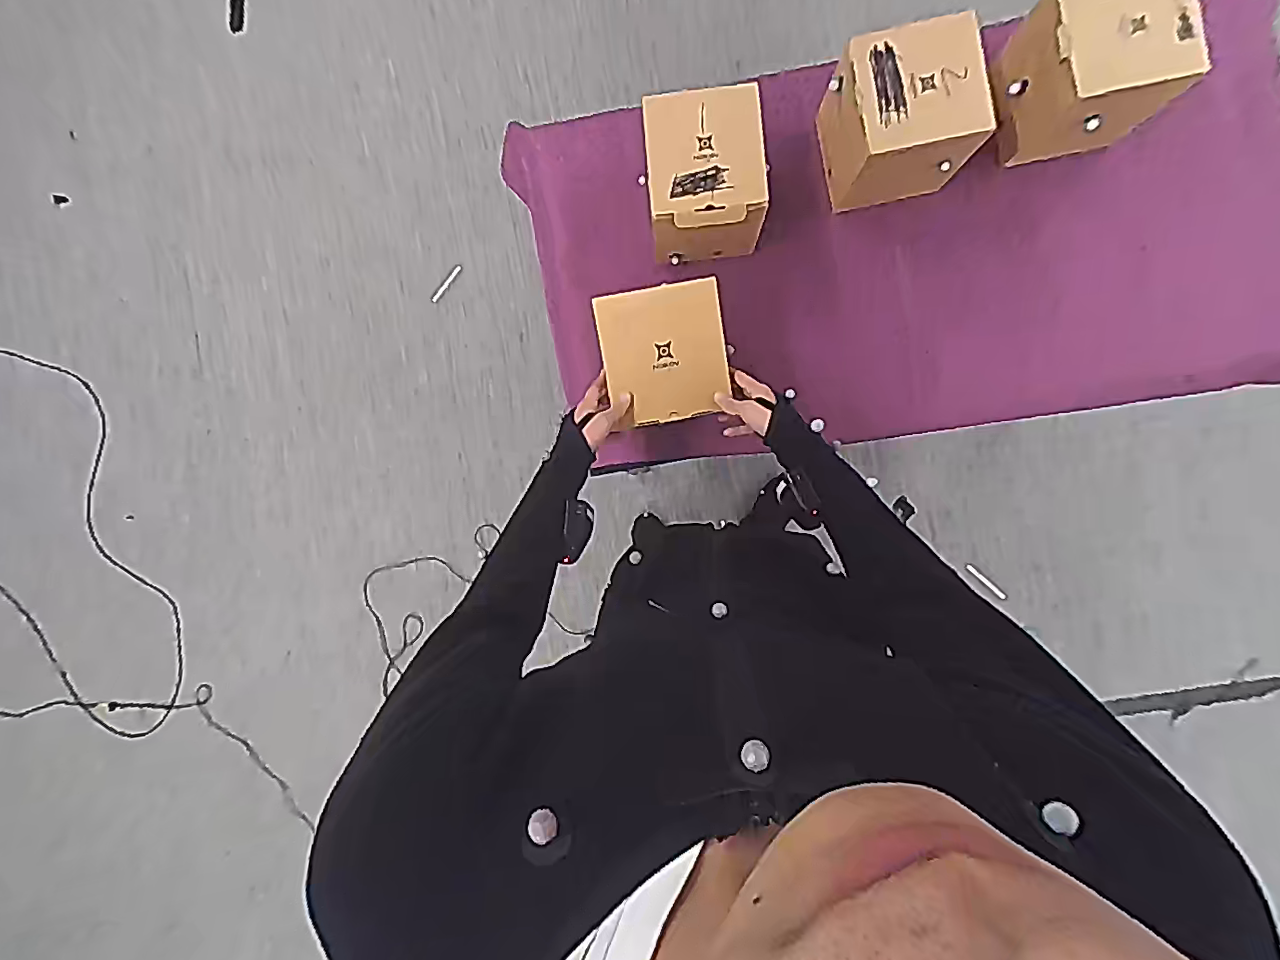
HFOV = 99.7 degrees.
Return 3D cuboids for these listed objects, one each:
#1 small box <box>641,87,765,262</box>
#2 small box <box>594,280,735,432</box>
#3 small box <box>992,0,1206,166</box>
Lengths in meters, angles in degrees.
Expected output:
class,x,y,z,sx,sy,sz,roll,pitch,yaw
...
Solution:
class,x,y,z,sx,sy,sz,roll,pitch,yaw
small box,0.094,-0.453,0.833,0.168,0.176,0.179,-5,89,3
small box,0.030,-0.173,0.790,0.168,0.176,0.179,-11,100,0
small box,0.654,-0.599,0.798,0.179,0.176,0.168,-10,91,4
